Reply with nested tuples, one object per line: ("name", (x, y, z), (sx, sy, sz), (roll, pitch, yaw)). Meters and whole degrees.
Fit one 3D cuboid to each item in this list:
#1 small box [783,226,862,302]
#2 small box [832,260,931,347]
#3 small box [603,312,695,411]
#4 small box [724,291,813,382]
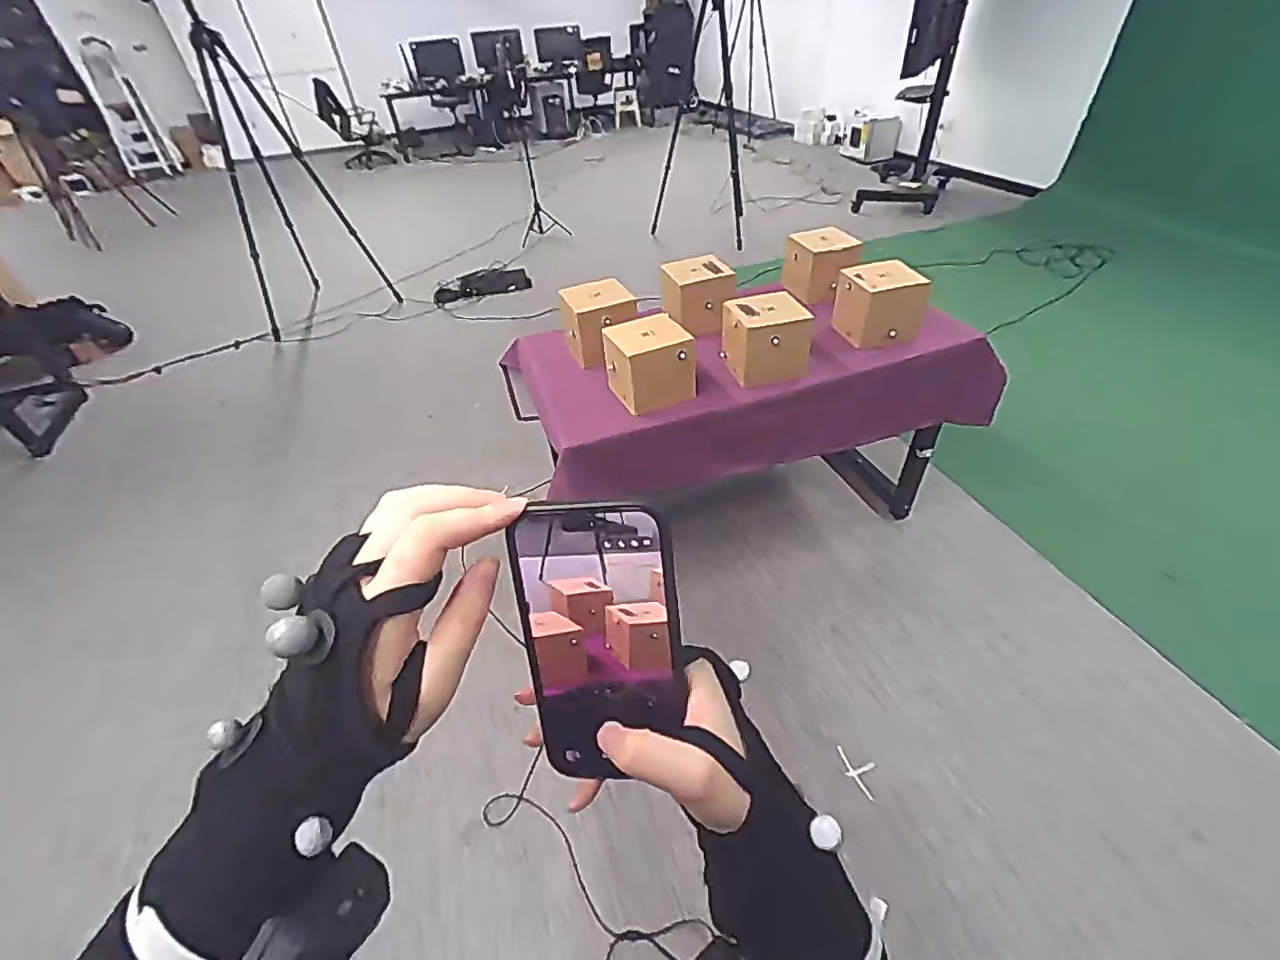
("small box", (0.574, -0.689, 1.730), (0.168, 0.176, 0.179), (-14, 44, -9))
("small box", (0.662, -0.489, 1.505), (0.179, 0.176, 0.168), (-11, 42, -7))
("small box", (0.025, -0.295, 1.353), (0.179, 0.176, 0.168), (-19, 44, -17))
("small box", (0.325, -0.370, 1.406), (0.179, 0.176, 0.168), (-11, 43, -8))
